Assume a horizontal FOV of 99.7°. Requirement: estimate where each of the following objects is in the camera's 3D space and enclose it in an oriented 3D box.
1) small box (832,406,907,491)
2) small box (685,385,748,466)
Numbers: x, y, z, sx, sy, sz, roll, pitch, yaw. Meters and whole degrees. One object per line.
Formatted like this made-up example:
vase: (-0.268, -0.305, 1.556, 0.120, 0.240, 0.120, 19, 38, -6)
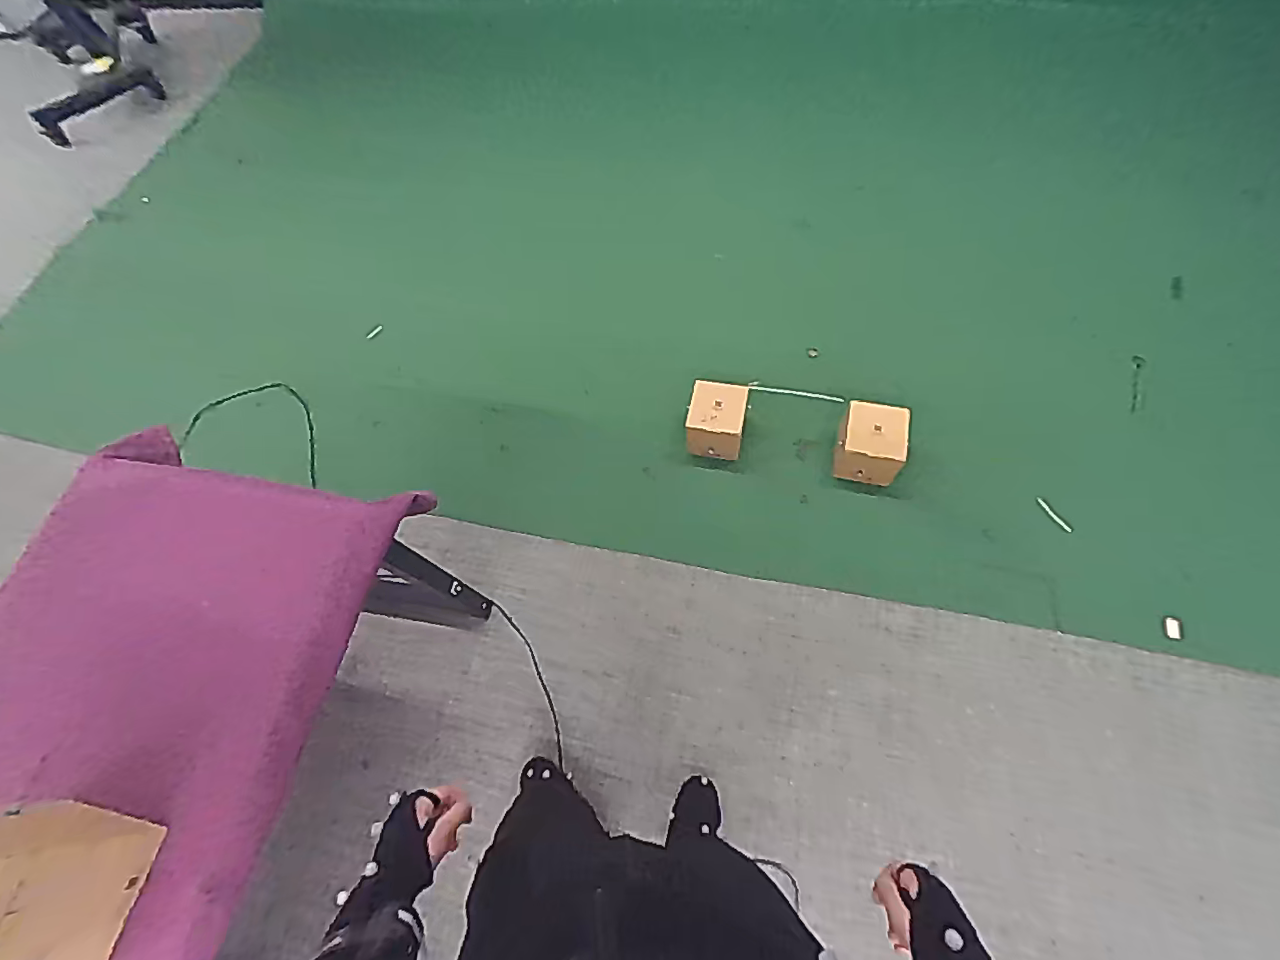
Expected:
small box: (0.683, -0.092, 1.618, 0.168, 0.176, 0.179, 11, 66, 10)
small box: (0.240, -0.170, 1.700, 0.168, 0.176, 0.179, 10, 65, 11)
